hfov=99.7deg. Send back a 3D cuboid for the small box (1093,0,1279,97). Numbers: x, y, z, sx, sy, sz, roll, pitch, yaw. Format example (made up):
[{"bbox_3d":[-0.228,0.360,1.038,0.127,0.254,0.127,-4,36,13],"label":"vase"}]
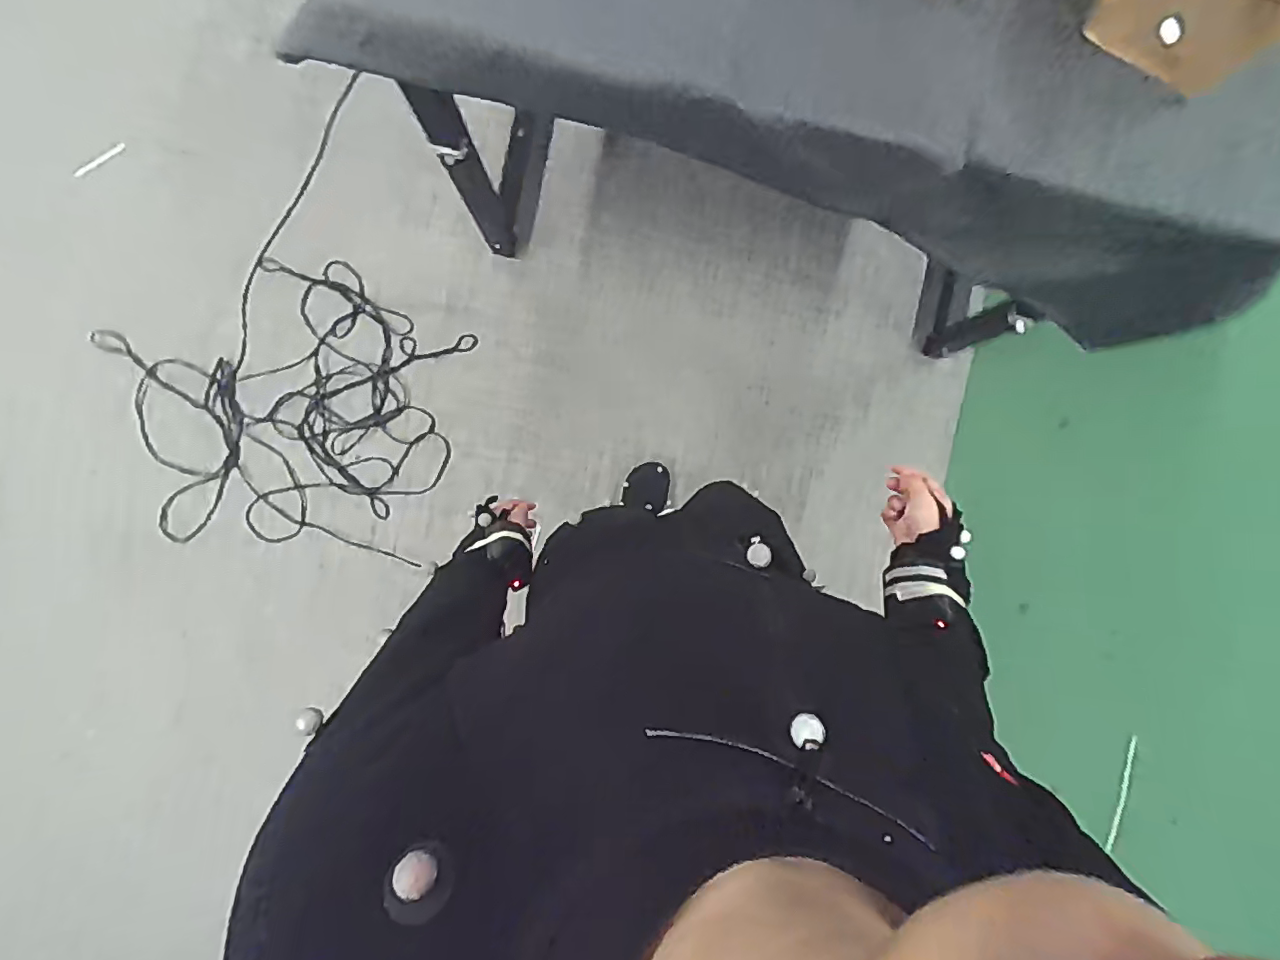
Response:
[{"bbox_3d":[0.648,-0.572,0.576,0.168,0.176,0.179,28,90,-3],"label":"small box"}]
